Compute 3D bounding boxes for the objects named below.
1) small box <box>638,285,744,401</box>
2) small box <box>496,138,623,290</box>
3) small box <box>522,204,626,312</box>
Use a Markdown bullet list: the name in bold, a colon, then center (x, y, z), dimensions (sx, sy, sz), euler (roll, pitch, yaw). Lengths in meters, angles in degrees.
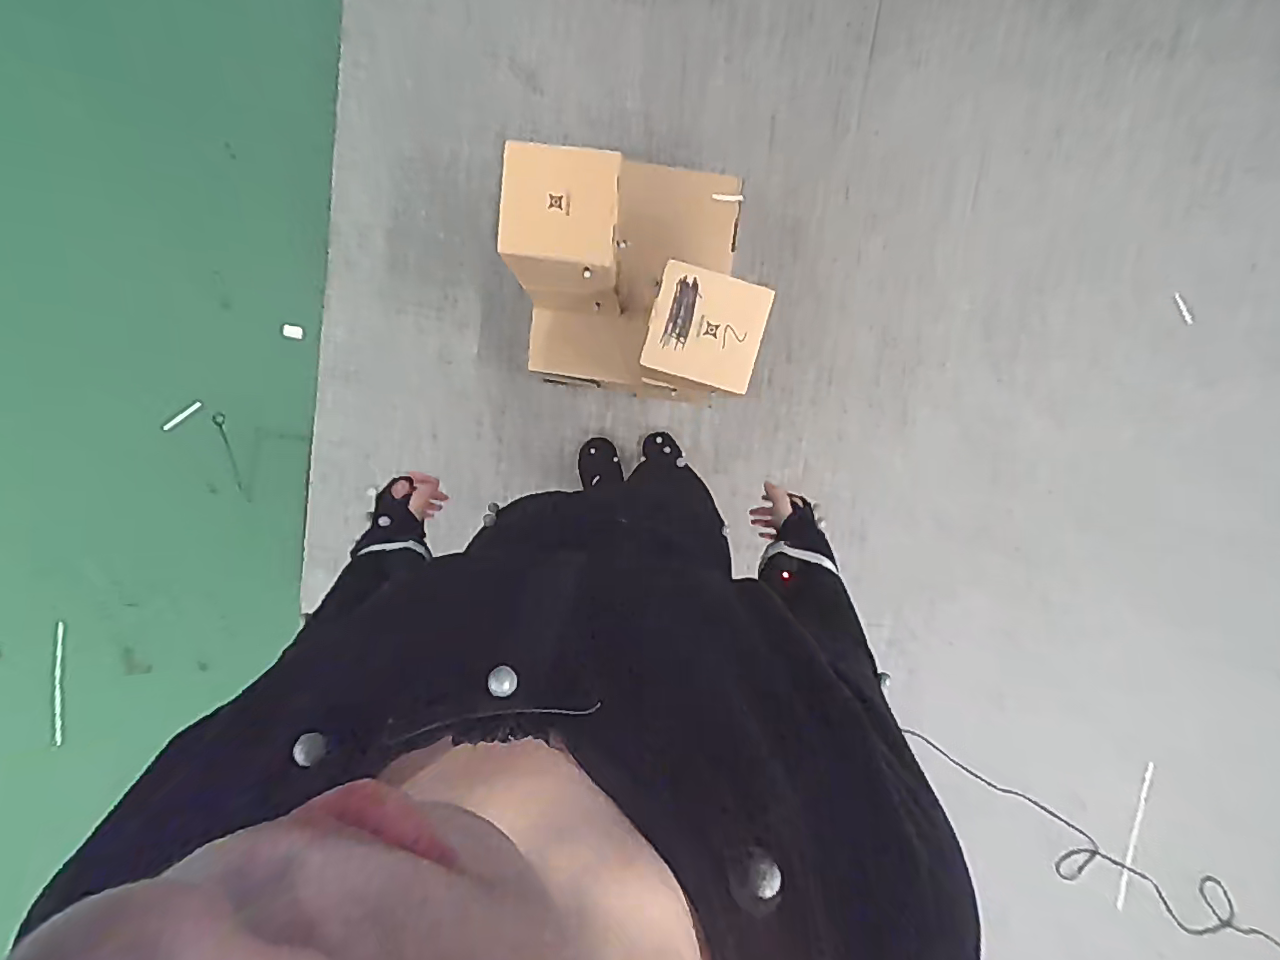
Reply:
- **small box**: center (0.091, -0.261, 1.069), dimensions (0.168, 0.176, 0.179), euler (11, 94, -3)
- **small box**: center (-0.123, -0.423, 0.887), dimensions (0.179, 0.176, 0.168), euler (6, 94, -2)
- **small box**: center (-0.121, -0.432, 1.050), dimensions (0.179, 0.176, 0.168), euler (5, 94, -1)
